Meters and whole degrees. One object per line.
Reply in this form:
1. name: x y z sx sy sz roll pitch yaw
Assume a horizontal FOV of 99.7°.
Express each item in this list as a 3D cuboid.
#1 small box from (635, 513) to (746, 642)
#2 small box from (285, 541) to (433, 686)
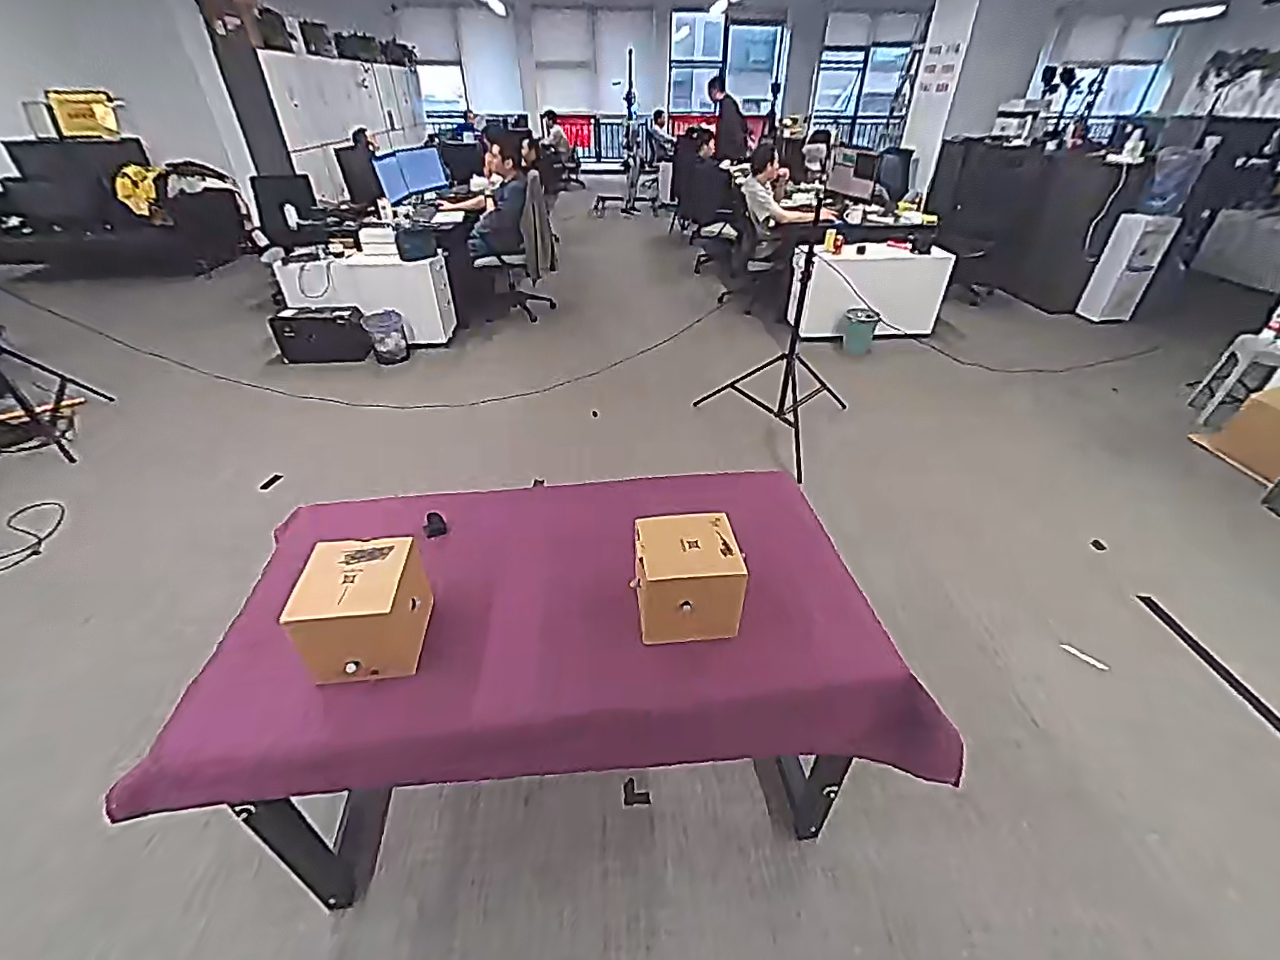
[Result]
1. small box: 0.088 0.183 1.008 0.179 0.176 0.168 -5 36 -5
2. small box: -0.472 0.229 0.942 0.168 0.176 0.179 -4 37 -6
